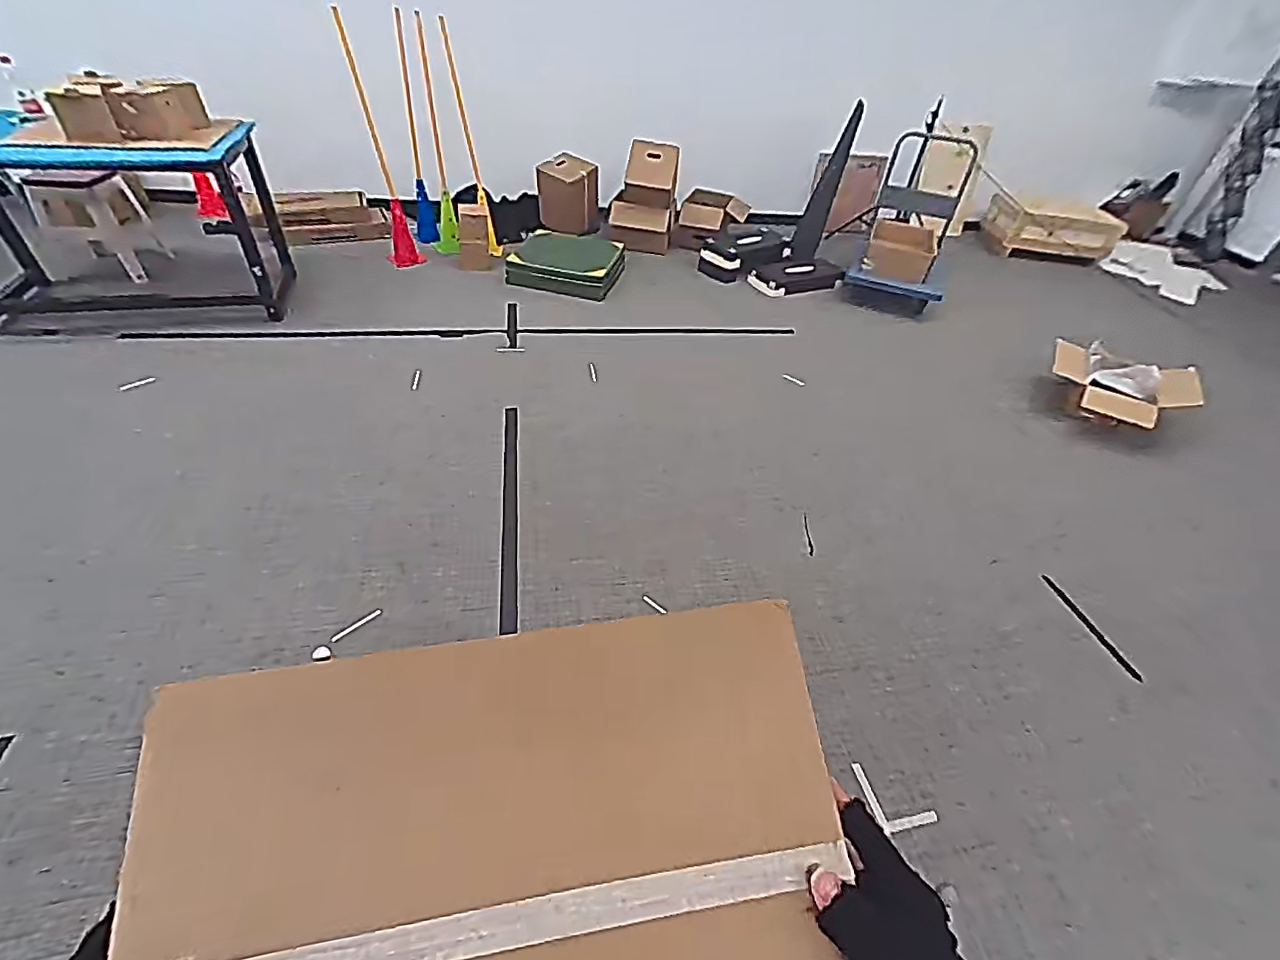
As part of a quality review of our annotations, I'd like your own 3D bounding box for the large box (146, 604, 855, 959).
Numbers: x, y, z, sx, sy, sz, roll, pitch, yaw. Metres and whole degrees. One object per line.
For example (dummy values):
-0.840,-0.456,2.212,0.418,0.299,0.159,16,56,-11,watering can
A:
-0.087,0.308,0.452,0.408,0.320,0.320,-7,70,-6,large box
